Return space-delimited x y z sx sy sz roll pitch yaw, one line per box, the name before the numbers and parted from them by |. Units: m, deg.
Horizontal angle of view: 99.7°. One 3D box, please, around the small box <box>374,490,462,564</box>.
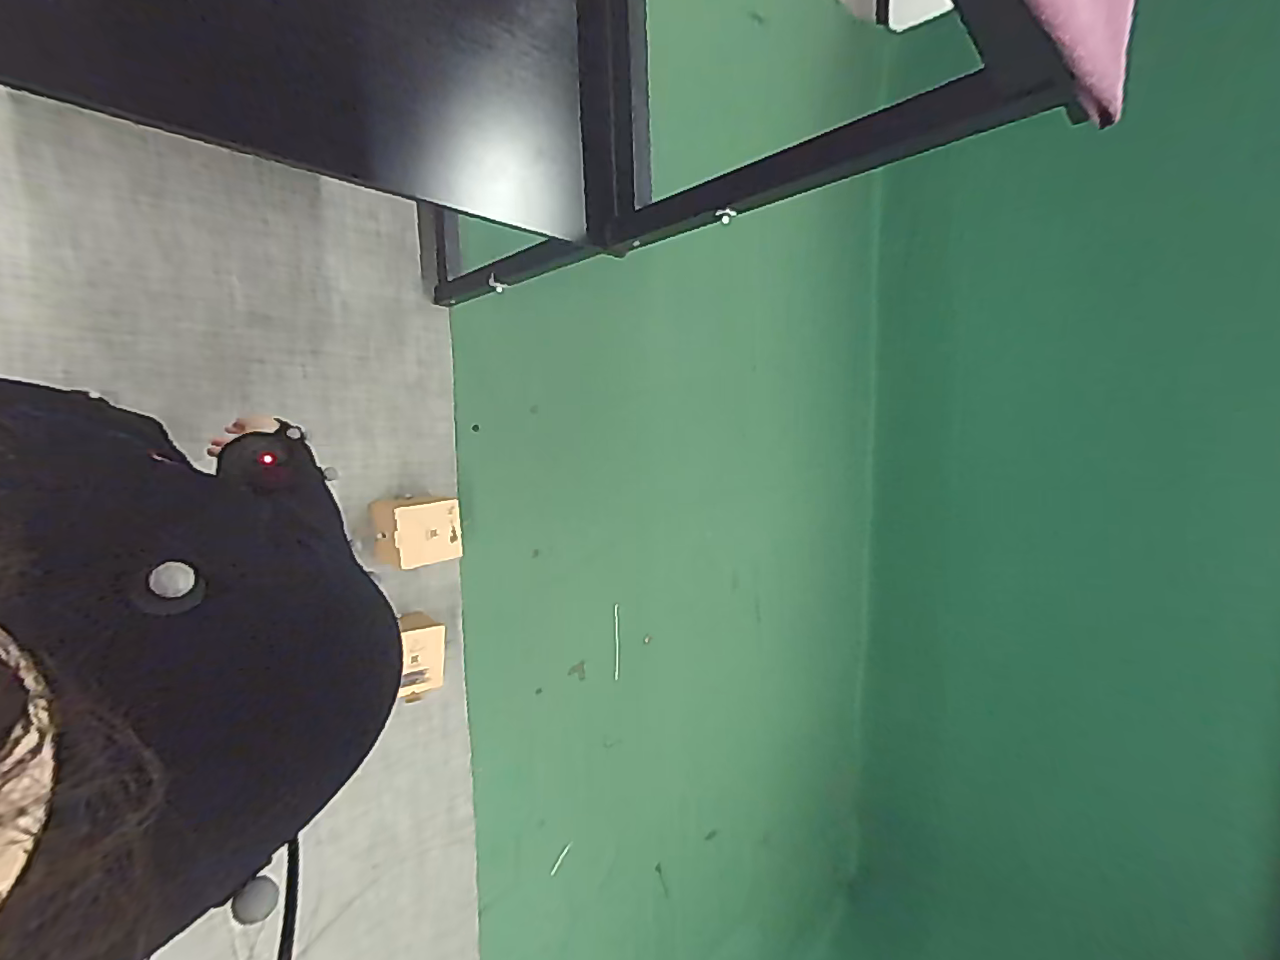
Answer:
small box | -0.612 0.123 1.480 0.179 0.176 0.168 -9 100 -45
